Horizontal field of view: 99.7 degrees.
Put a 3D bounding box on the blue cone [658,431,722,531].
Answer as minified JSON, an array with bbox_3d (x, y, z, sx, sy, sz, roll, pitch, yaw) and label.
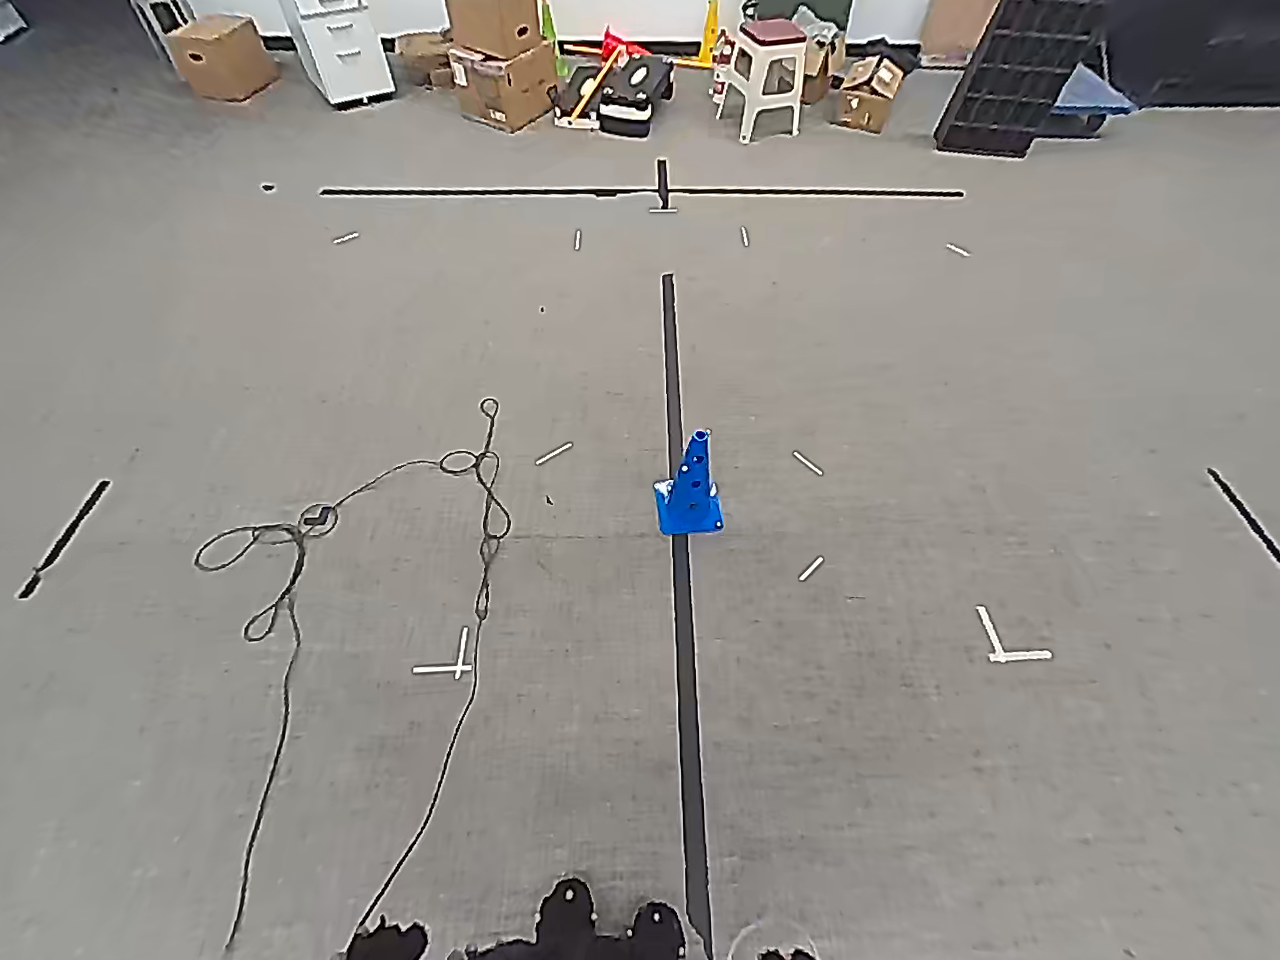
[{"bbox_3d":[0.163,-0.013,1.594,0.192,0.380,0.193,-2,56,-4],"label":"blue cone"}]
